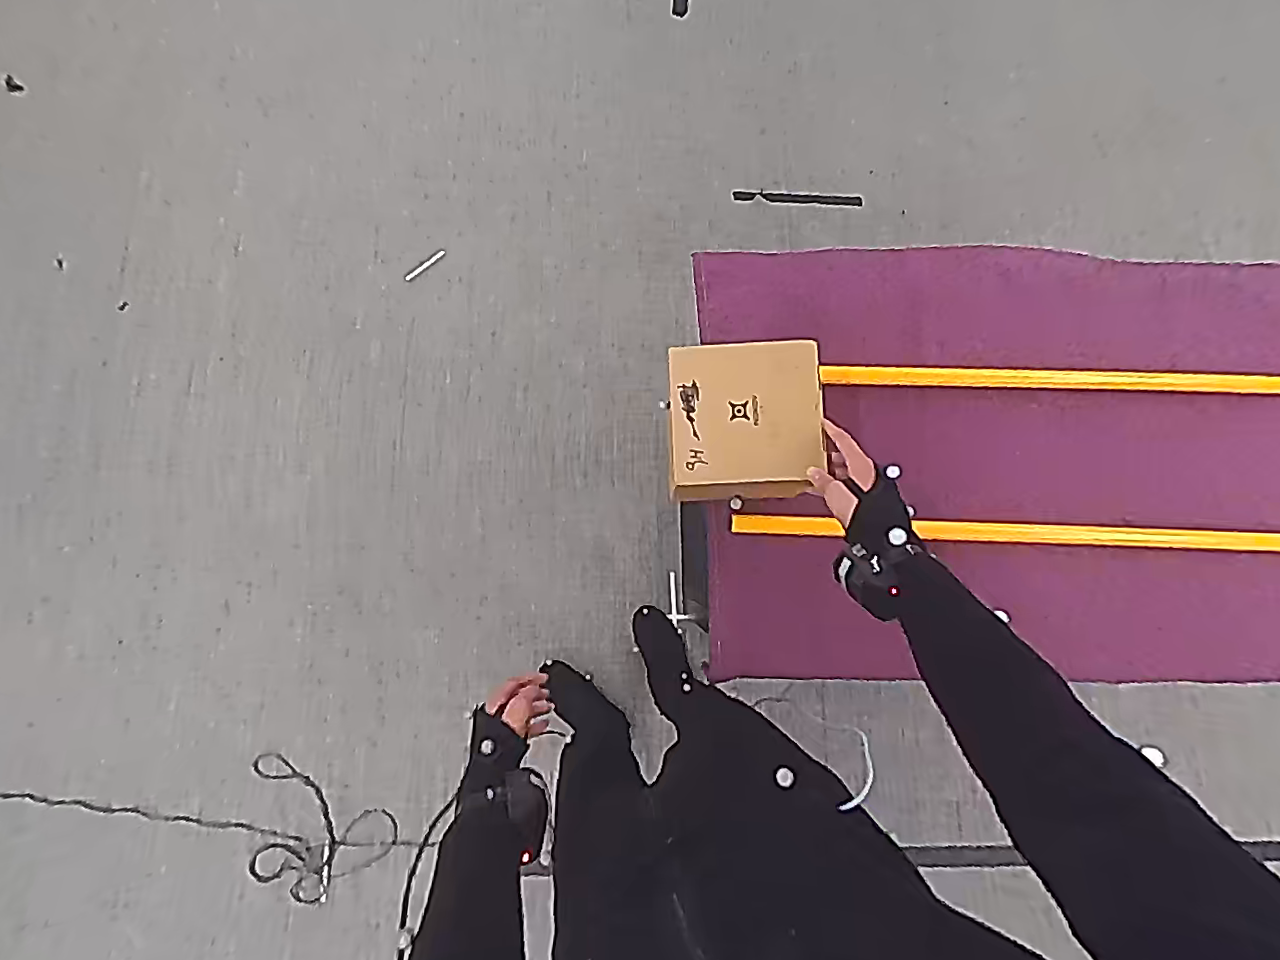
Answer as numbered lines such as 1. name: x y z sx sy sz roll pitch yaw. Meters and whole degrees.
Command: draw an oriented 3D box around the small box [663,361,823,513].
1. small box: 0.122 -0.047 0.706 0.179 0.176 0.168 -2 81 1
